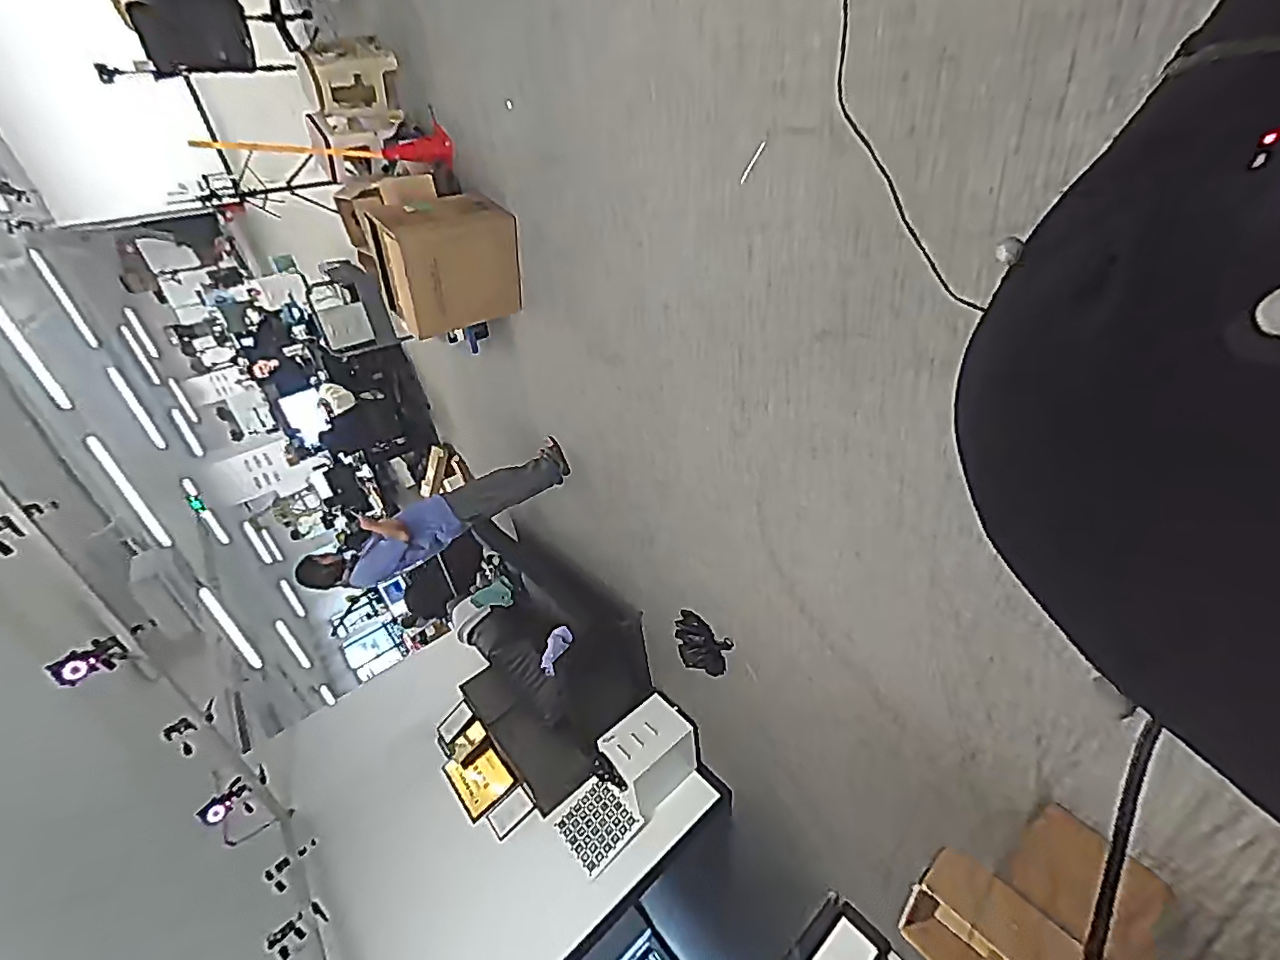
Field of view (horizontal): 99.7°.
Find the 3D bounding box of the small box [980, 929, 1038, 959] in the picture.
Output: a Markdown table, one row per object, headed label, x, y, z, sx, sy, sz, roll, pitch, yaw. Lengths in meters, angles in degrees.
| label | x | y | z | sx | sy | sz | roll | pitch | yaw |
| --- | --- | --- | --- | --- | --- | --- | --- | --- | --- |
| small box | 1.075 | 1.461 | 1.562 | 0.168 | 0.176 | 0.179 | 28 | 138 | 45 |
